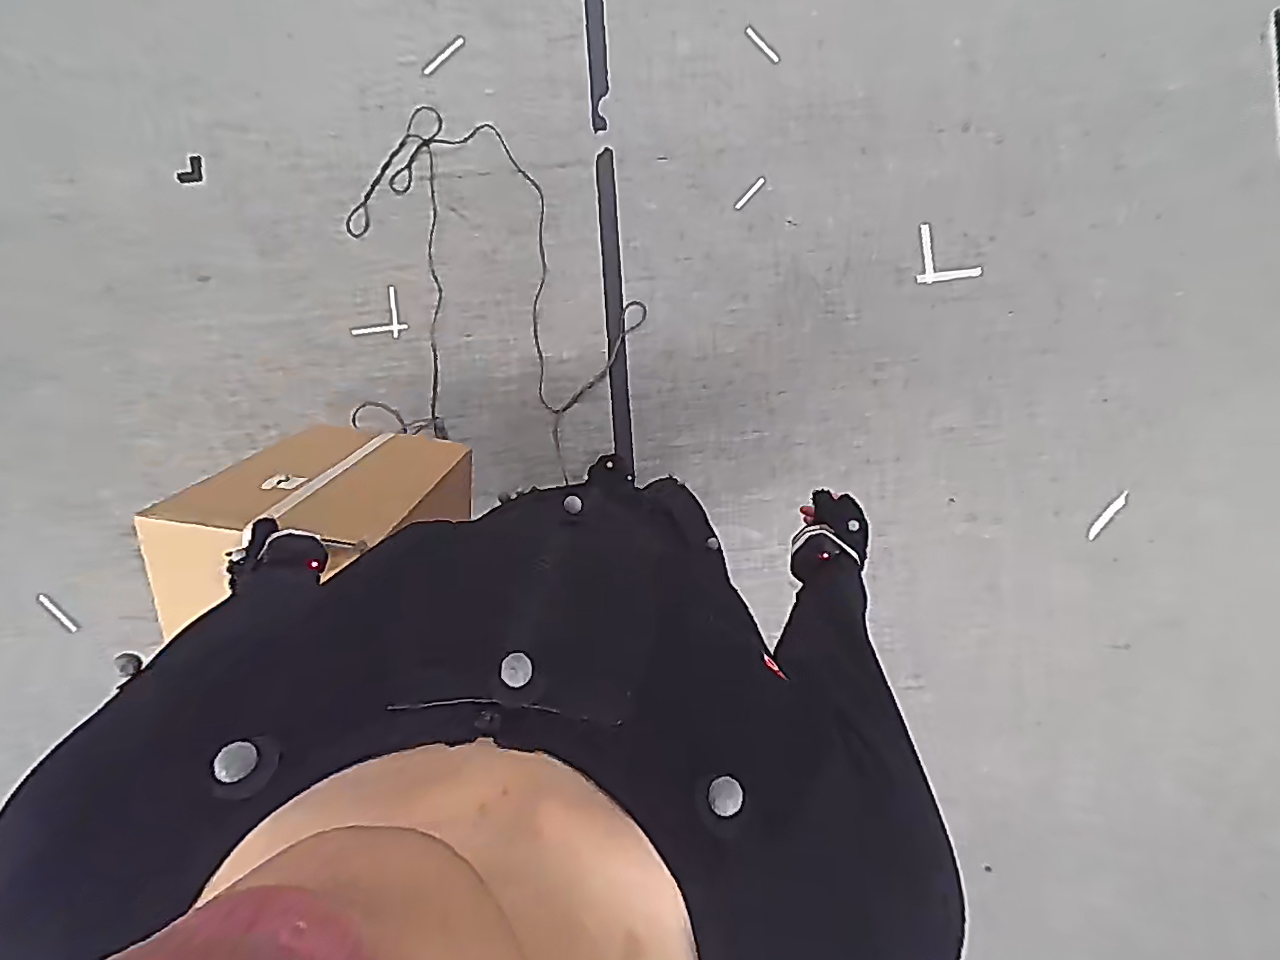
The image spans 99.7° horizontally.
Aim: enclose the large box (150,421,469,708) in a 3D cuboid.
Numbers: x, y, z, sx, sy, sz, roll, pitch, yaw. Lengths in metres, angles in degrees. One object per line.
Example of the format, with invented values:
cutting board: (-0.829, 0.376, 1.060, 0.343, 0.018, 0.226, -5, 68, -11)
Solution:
large box: (-0.517, 0.122, 0.959, 0.320, 0.408, 0.320, 8, 115, 0)
